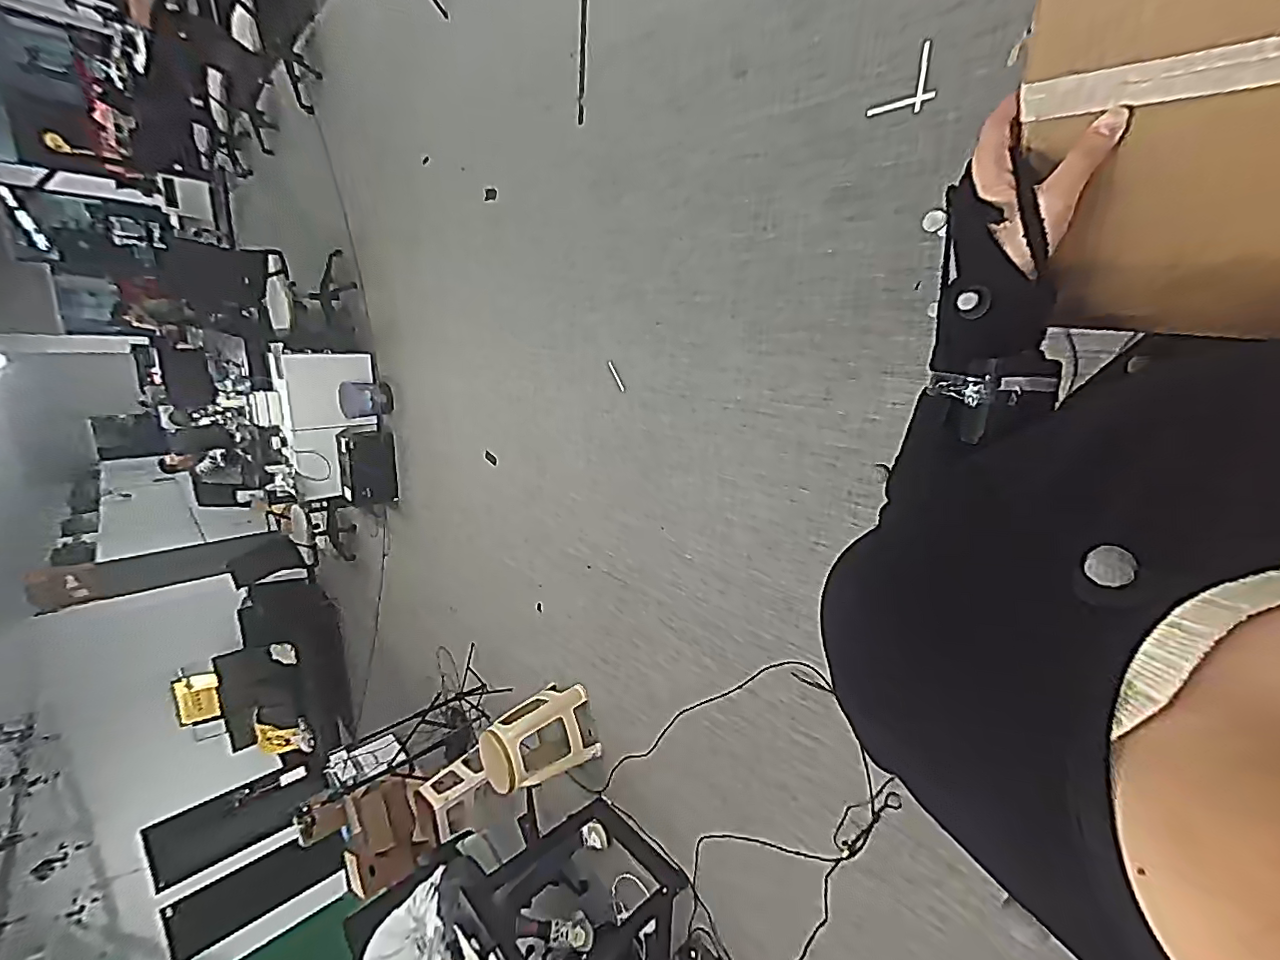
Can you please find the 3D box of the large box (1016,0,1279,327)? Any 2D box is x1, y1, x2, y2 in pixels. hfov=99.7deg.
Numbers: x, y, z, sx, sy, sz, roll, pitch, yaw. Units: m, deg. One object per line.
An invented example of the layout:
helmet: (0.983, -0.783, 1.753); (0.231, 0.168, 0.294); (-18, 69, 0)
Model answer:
large box: (0.483, -0.291, 0.281); (0.408, 0.320, 0.320); (18, 145, 41)
